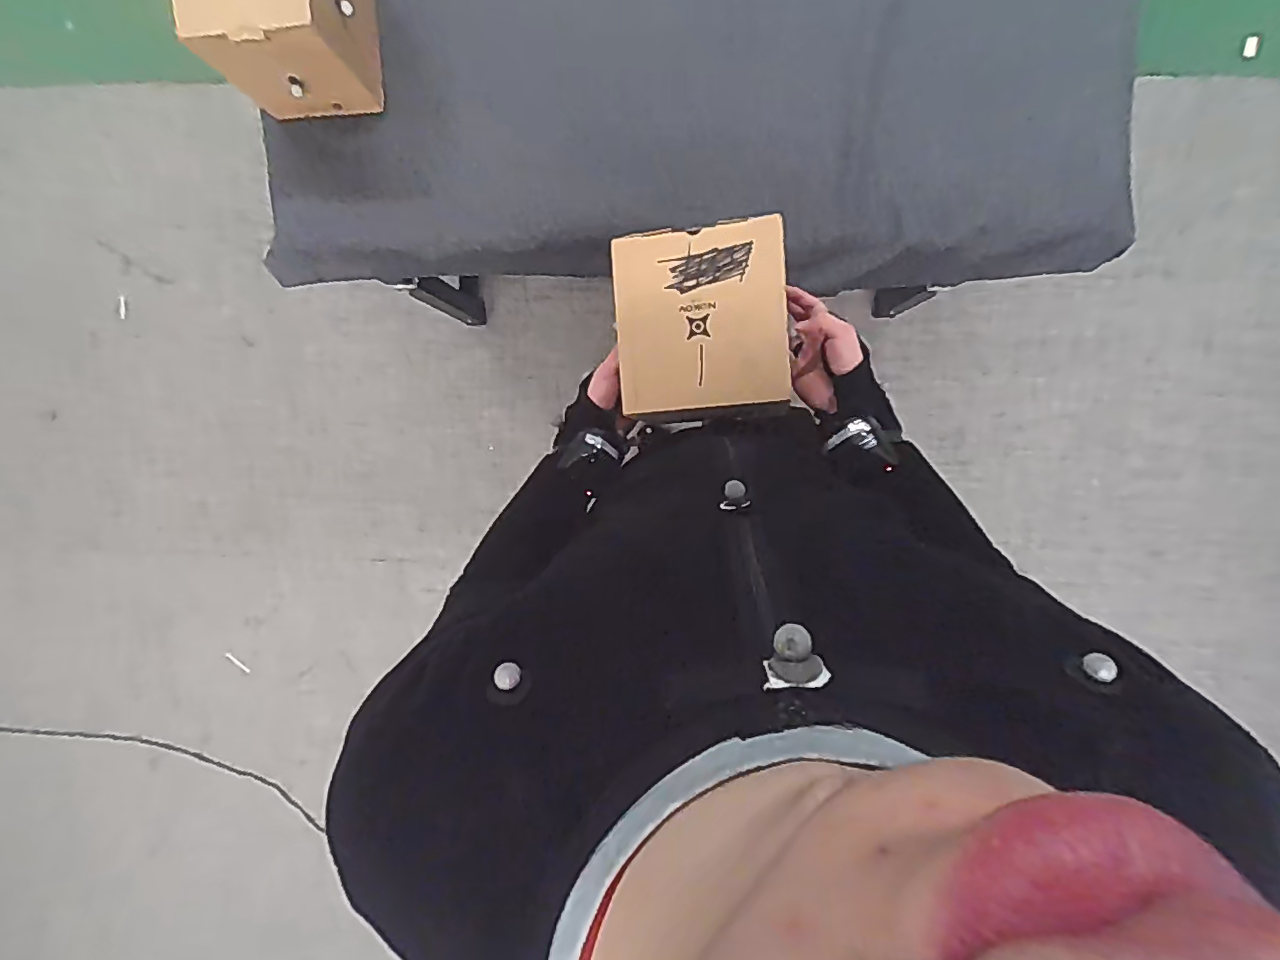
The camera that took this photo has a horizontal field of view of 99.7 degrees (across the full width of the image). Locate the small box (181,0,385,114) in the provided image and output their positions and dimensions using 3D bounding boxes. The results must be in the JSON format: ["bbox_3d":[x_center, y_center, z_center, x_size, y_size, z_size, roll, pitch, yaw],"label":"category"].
[{"bbox_3d":[-0.455,-0.609,0.706,0.168,0.176,0.179,-3,96,2],"label":"small box"}]
